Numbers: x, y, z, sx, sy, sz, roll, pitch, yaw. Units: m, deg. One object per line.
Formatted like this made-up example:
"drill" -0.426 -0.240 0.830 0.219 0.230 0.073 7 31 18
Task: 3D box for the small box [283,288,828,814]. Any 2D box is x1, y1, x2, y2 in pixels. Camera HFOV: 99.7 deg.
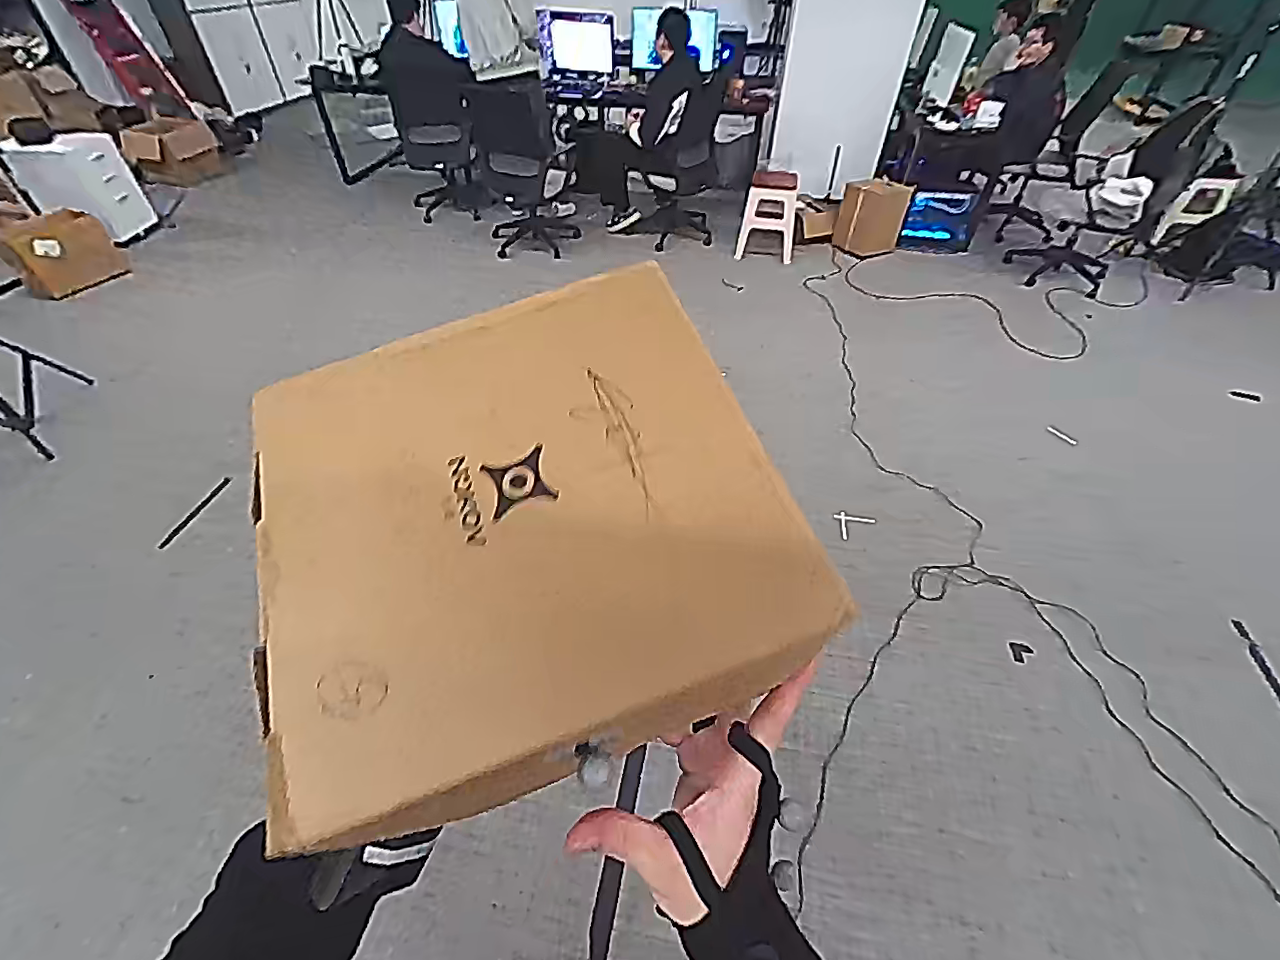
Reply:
"small box" -0.039 0.044 0.273 0.179 0.176 0.168 -21 62 -7
